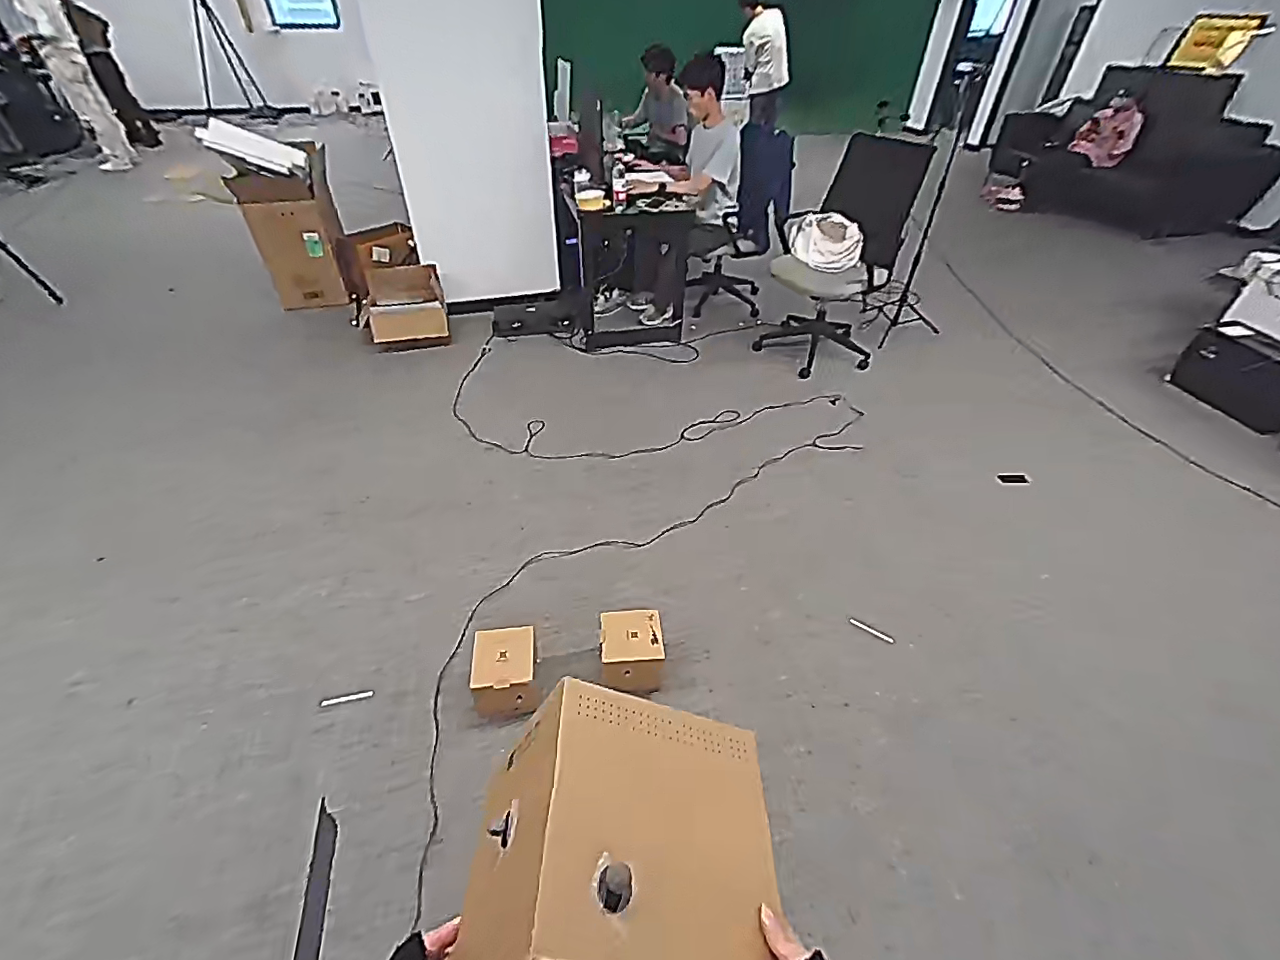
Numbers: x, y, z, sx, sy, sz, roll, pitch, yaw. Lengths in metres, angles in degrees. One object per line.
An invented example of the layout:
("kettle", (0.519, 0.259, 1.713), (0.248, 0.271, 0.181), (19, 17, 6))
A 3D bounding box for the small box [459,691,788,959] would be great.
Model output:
("small box", (-0.018, 0.287, 0.411), (0.179, 0.168, 0.176), (24, 35, -17))

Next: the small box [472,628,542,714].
("small box", (-0.370, 0.548, 1.536), (0.168, 0.176, 0.179), (-3, 42, -6))

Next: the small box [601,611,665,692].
("small box", (-0.022, 0.507, 1.589), (0.179, 0.176, 0.168), (-2, 42, -4))
